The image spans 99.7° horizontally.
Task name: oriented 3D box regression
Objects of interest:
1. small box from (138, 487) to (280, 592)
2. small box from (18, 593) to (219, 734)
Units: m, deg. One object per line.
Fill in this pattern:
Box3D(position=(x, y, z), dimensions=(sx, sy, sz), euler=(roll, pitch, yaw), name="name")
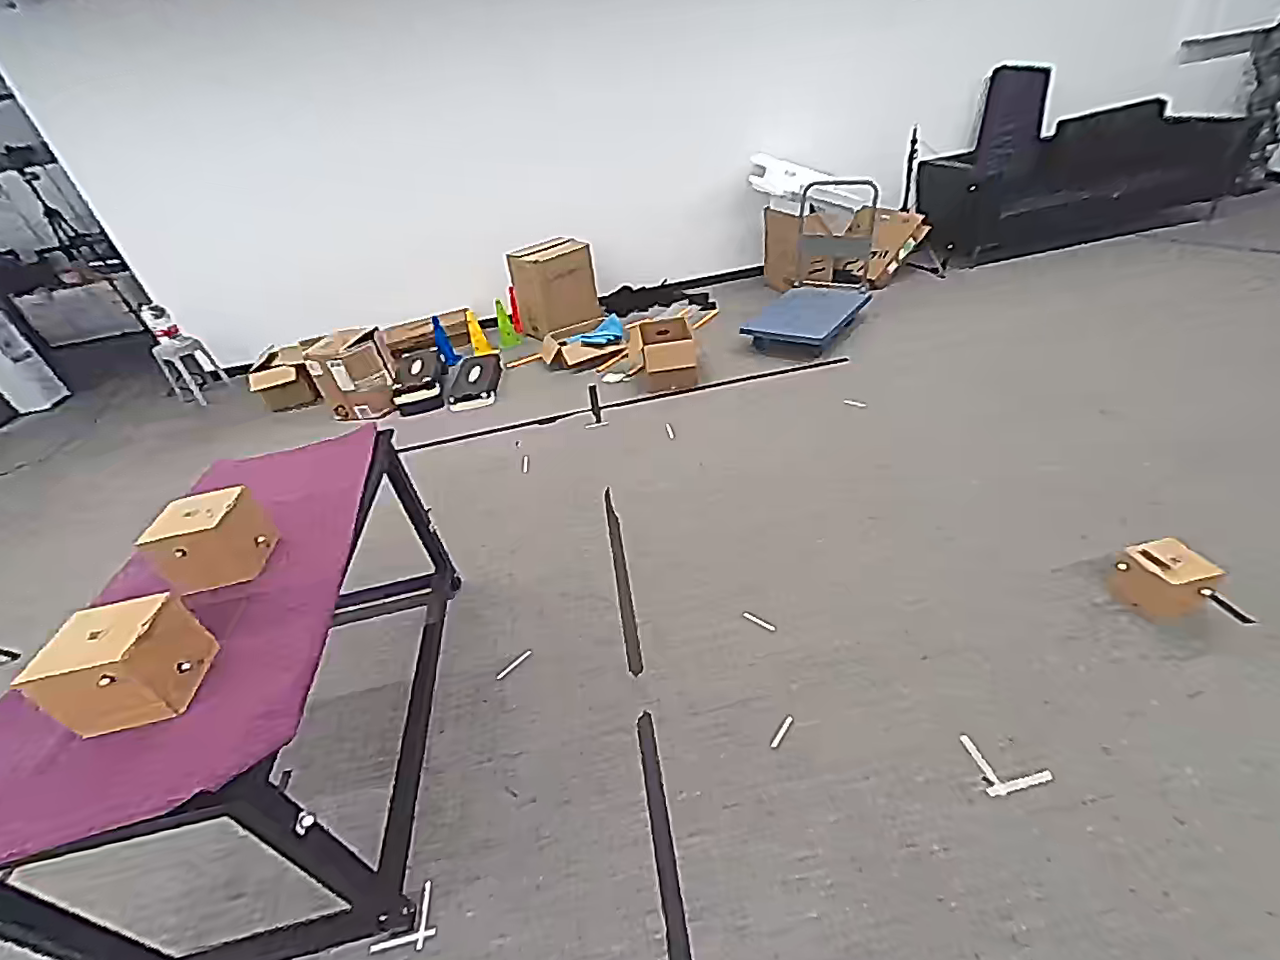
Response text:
Box3D(position=(-1.017, 0.146, 1.295), dimensions=(0.179, 0.176, 0.168), euler=(-12, 36, -4), name="small box")
Box3D(position=(-0.951, 0.344, 1.009), dimensions=(0.179, 0.176, 0.168), euler=(-12, 35, -5), name="small box")
